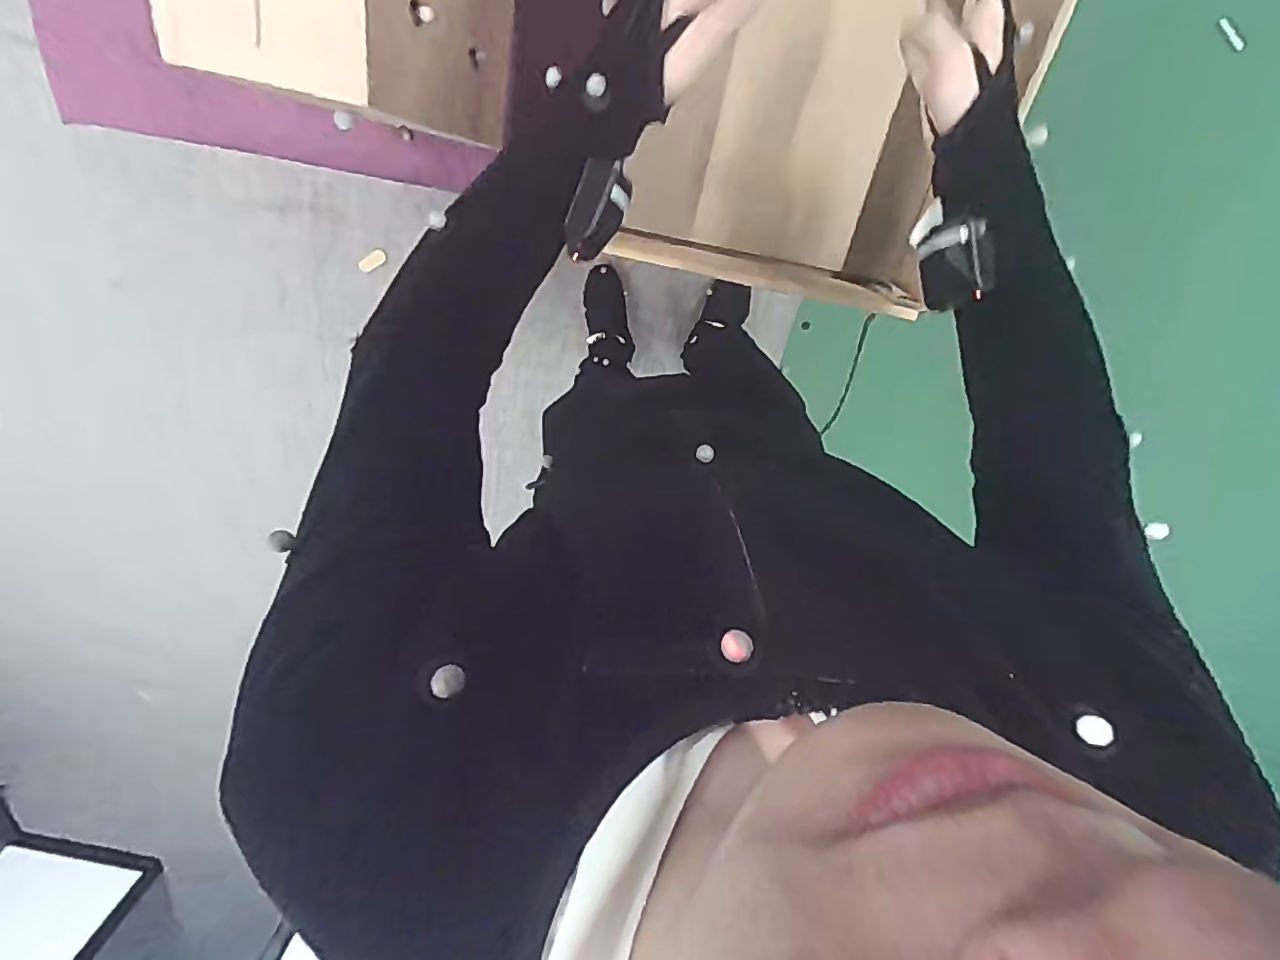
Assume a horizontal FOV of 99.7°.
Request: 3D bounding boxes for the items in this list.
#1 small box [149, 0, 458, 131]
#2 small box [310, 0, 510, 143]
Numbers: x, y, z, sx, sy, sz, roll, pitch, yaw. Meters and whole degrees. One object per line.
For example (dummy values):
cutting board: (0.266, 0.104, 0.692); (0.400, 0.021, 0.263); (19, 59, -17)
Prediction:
small box: (-0.263, -0.417, 0.449); (0.168, 0.176, 0.179); (13, 117, -1)
small box: (-0.251, -0.492, 0.595); (0.168, 0.176, 0.179); (13, 117, -2)
